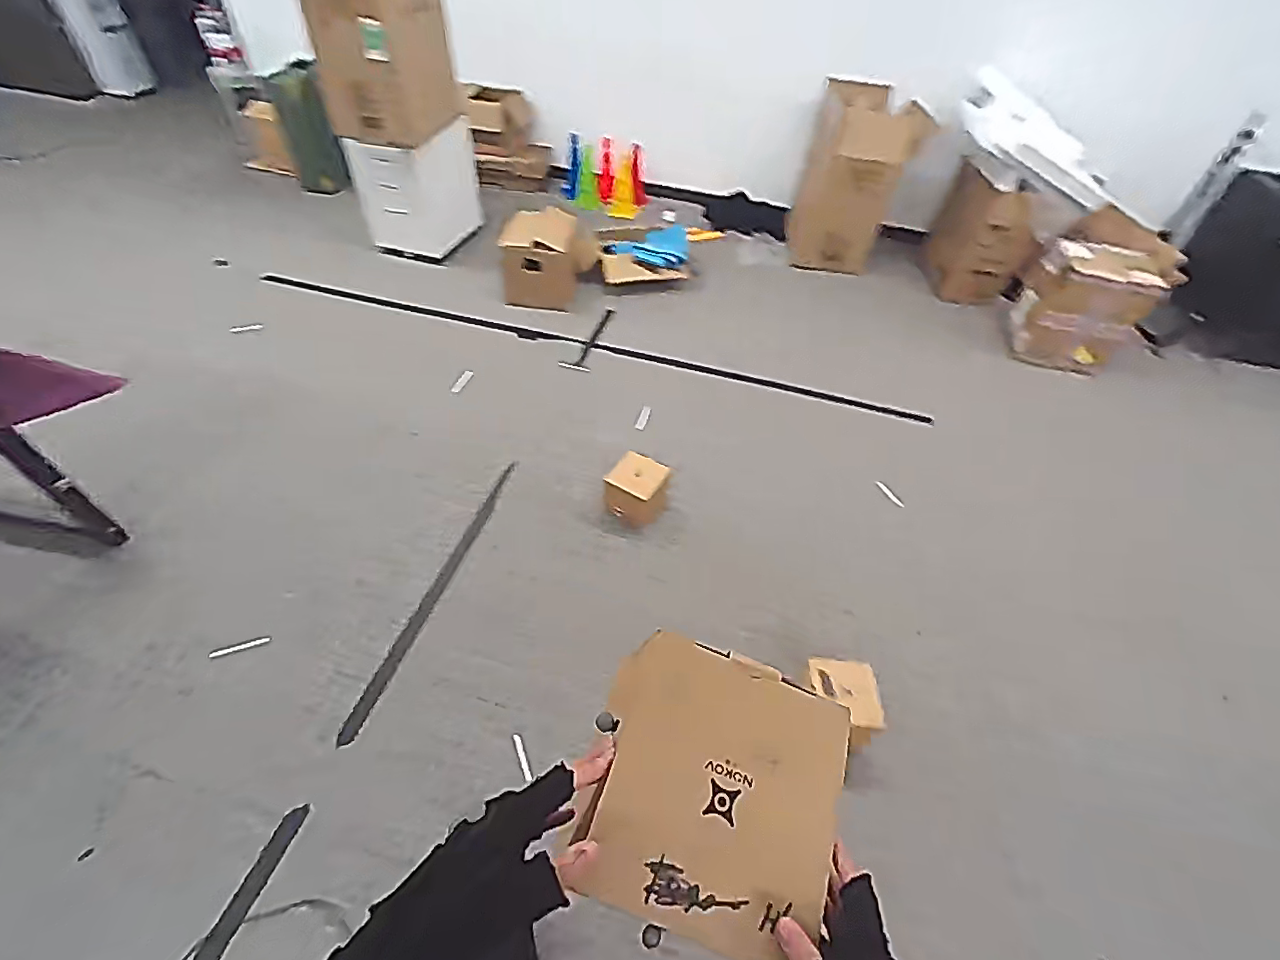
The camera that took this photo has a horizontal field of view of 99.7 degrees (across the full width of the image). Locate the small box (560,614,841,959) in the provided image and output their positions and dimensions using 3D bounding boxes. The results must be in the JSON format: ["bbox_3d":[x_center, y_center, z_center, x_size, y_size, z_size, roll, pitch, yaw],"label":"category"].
[{"bbox_3d":[0.041,0.241,0.449,0.168,0.176,0.179,22,59,-1],"label":"small box"}]

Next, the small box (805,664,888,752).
[{"bbox_3d":[0.525,0.610,1.441,0.179,0.176,0.168,6,47,-1],"label":"small box"}]

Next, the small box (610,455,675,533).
[{"bbox_3d":[0.002,0.050,1.897,0.168,0.176,0.179,26,51,18],"label":"small box"}]
